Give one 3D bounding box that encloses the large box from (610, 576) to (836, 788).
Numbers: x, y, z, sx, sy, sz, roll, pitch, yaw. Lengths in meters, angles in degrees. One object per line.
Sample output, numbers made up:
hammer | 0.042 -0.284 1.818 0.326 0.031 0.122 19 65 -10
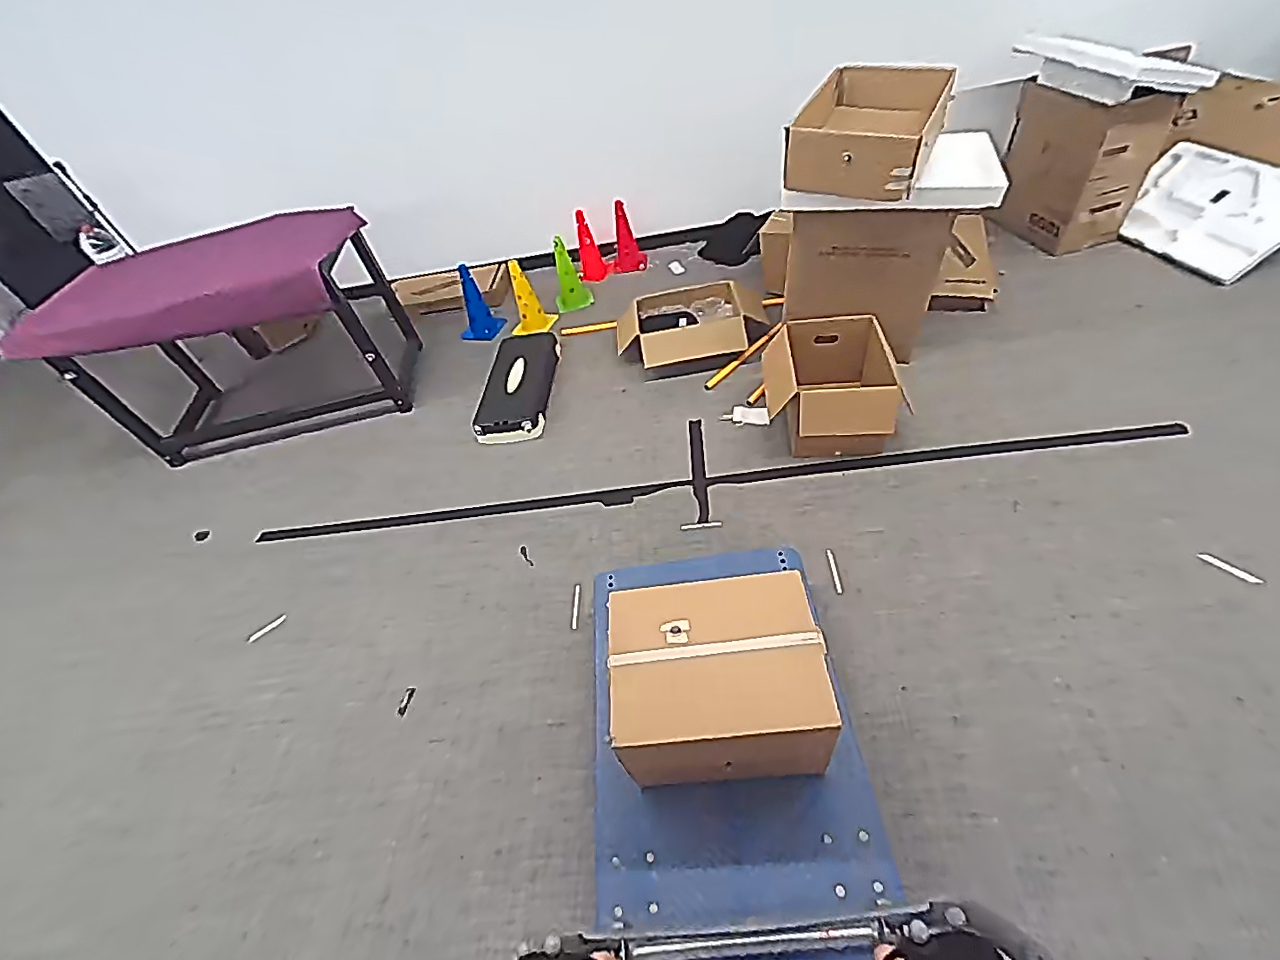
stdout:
large box | 0.166 0.442 1.163 0.408 0.320 0.320 -9 47 6
